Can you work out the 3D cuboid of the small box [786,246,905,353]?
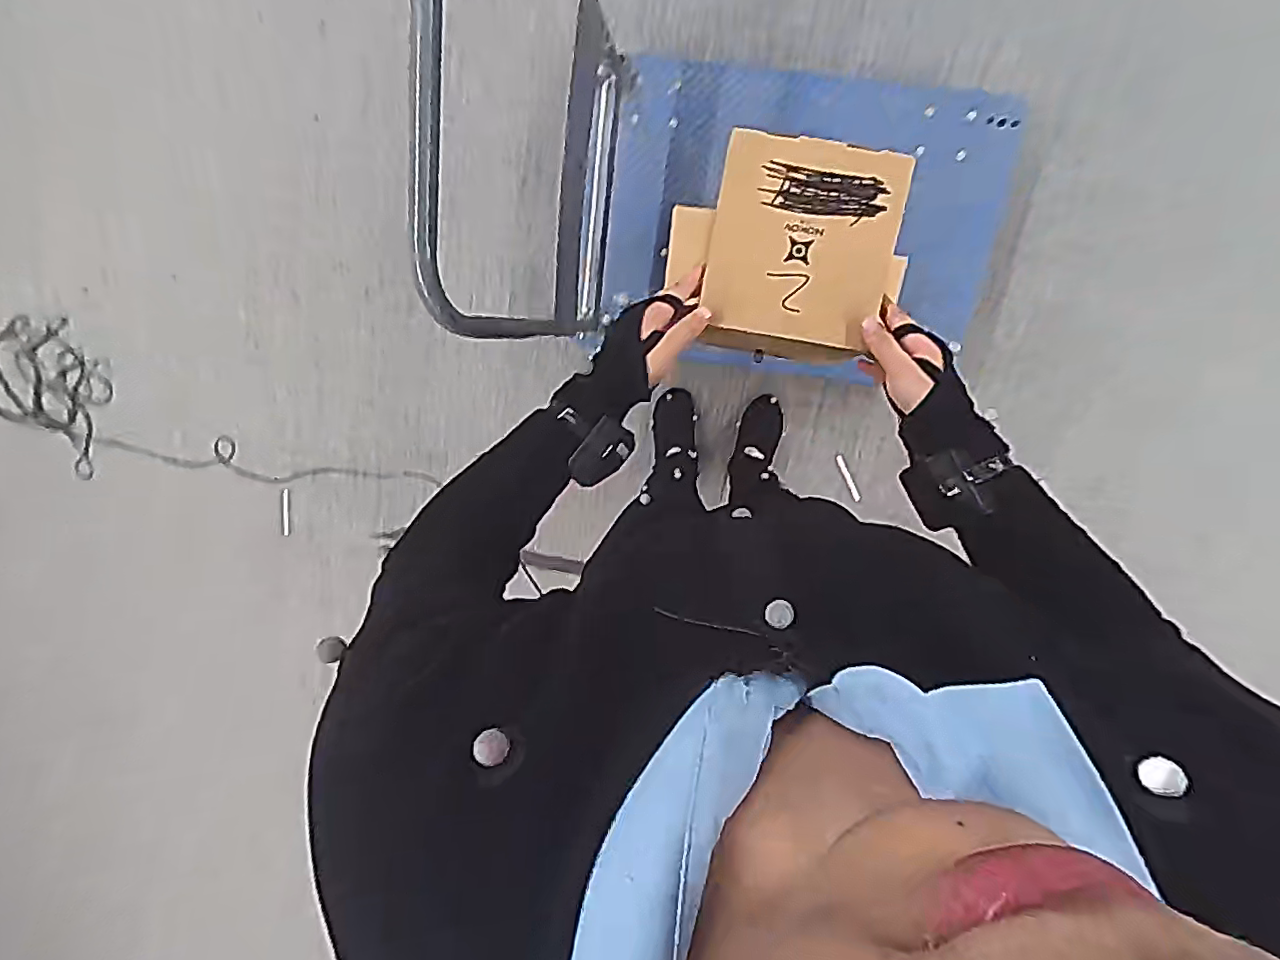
[{"bbox_3d":[0.402,-0.357,1.090,0.168,0.176,0.179,8,106,3],"label":"small box"}]

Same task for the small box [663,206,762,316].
[{"bbox_3d":[0.139,-0.433,1.091,0.168,0.176,0.179,8,106,4],"label":"small box"}]
